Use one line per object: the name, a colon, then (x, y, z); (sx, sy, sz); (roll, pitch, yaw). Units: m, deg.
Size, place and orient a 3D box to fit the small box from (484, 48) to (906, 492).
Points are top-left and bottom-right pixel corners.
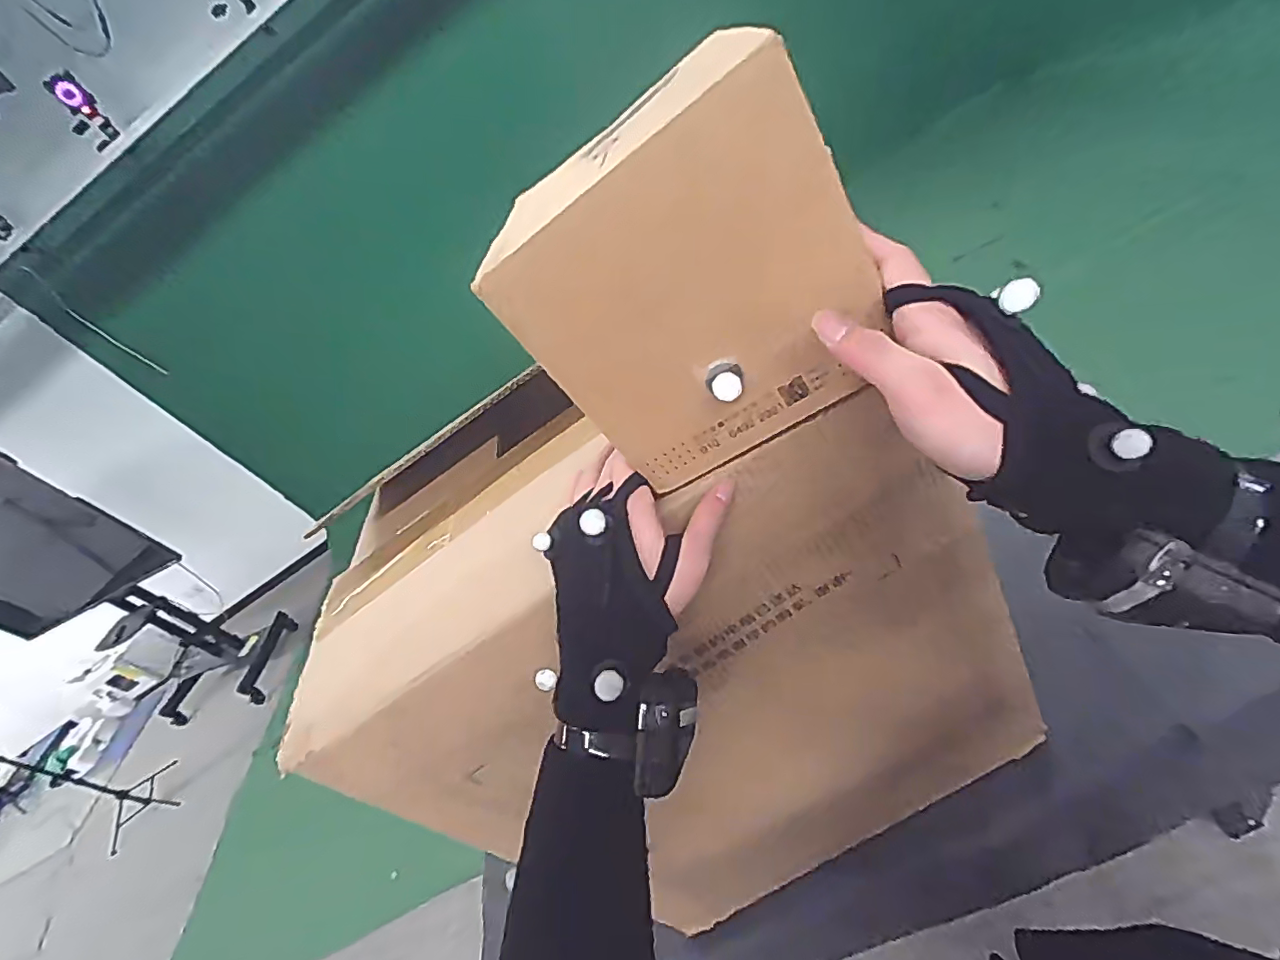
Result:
small box: (0.035, -0.125, 0.342); (0.168, 0.176, 0.179); (-30, 34, 21)
